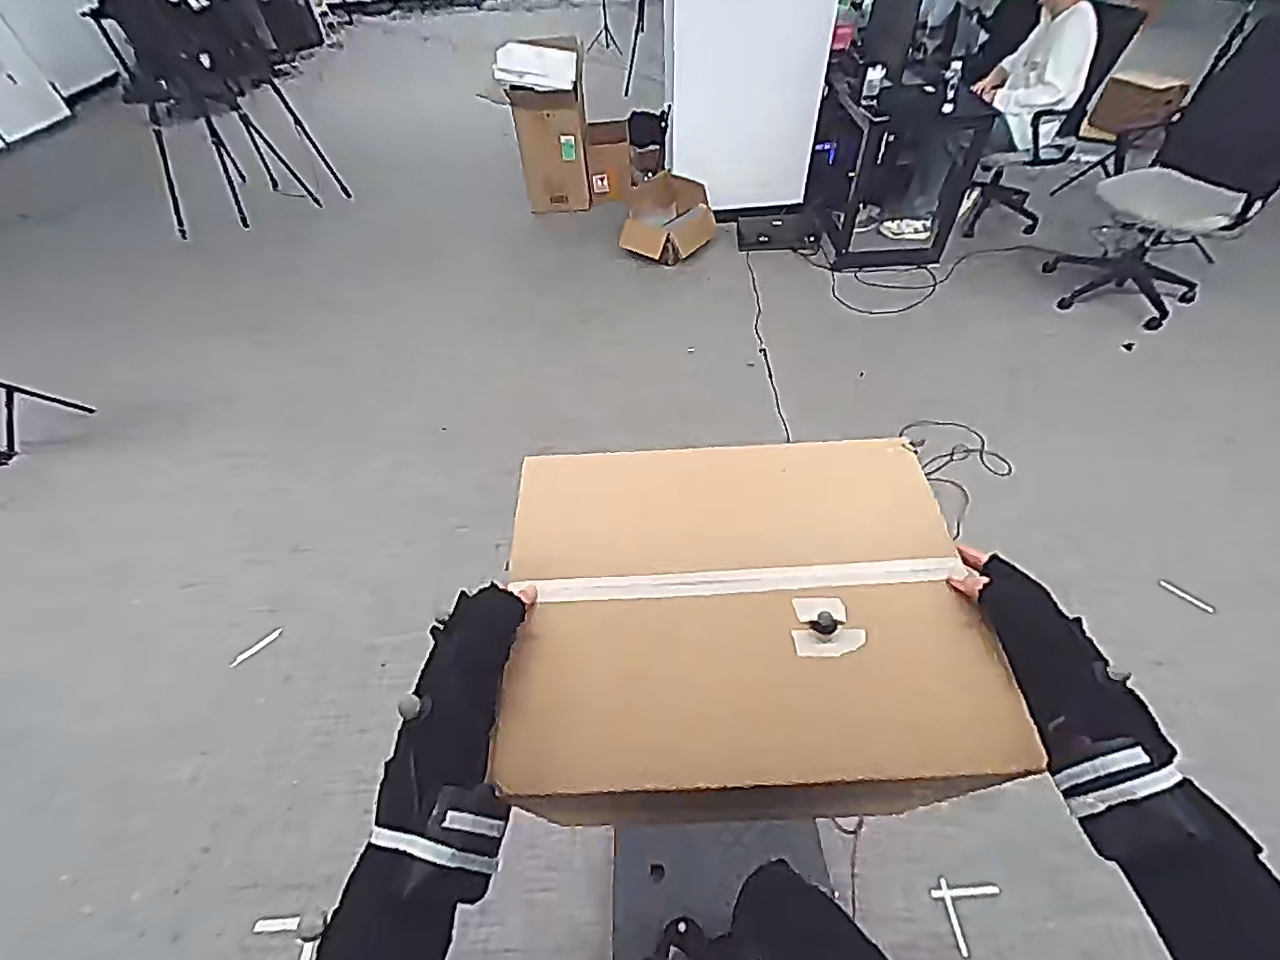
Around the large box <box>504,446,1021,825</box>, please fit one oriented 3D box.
[{"bbox_3d":[0.090,0.186,0.614,0.408,0.320,0.320,-3,54,1],"label":"large box"}]
